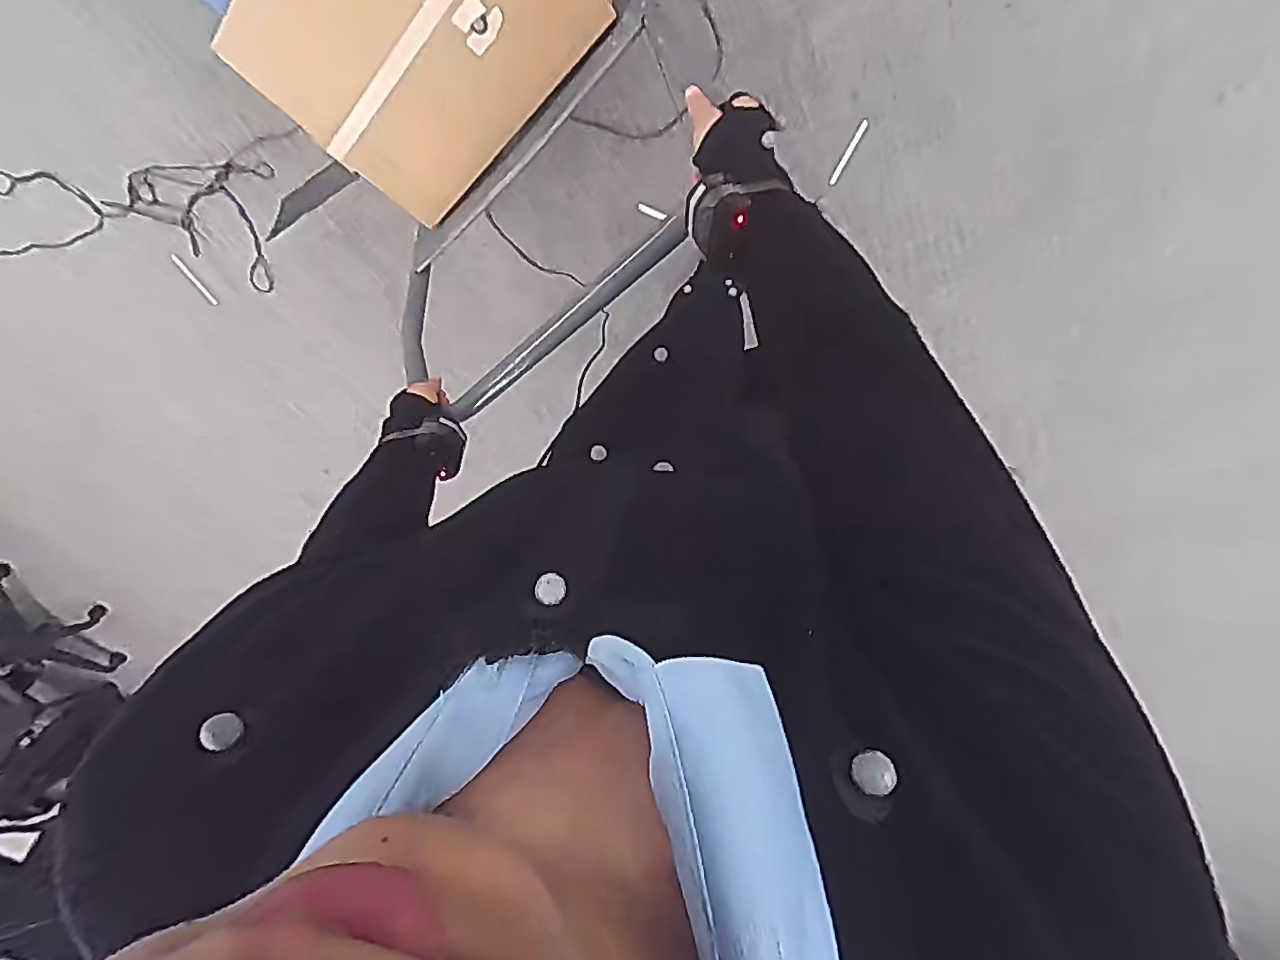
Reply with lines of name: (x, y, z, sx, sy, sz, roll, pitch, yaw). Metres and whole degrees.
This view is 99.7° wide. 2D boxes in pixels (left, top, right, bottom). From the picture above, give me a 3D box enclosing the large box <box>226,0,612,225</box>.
large box: (-0.296, -0.679, 0.781, 0.408, 0.320, 0.320, -34, 135, 26)
